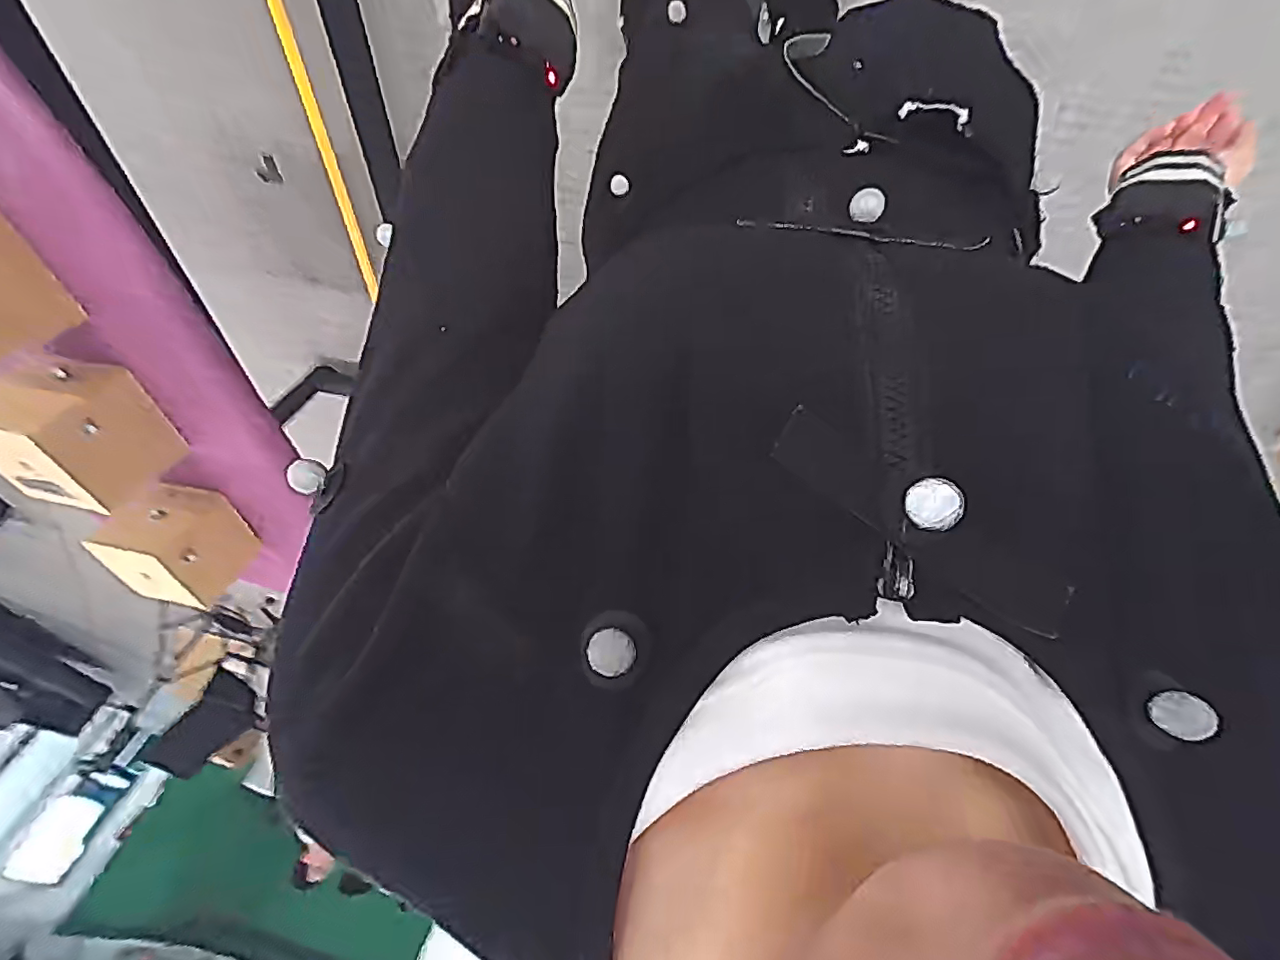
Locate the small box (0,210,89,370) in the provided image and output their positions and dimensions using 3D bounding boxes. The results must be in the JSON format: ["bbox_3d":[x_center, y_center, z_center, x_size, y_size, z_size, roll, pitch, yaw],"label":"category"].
[{"bbox_3d":[-0.899,-0.257,0.692,0.168,0.176,0.179,9,138,9],"label":"small box"}]

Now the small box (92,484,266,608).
[{"bbox_3d":[-0.927,0.131,1.108,0.168,0.176,0.179,9,135,9],"label":"small box"}]
